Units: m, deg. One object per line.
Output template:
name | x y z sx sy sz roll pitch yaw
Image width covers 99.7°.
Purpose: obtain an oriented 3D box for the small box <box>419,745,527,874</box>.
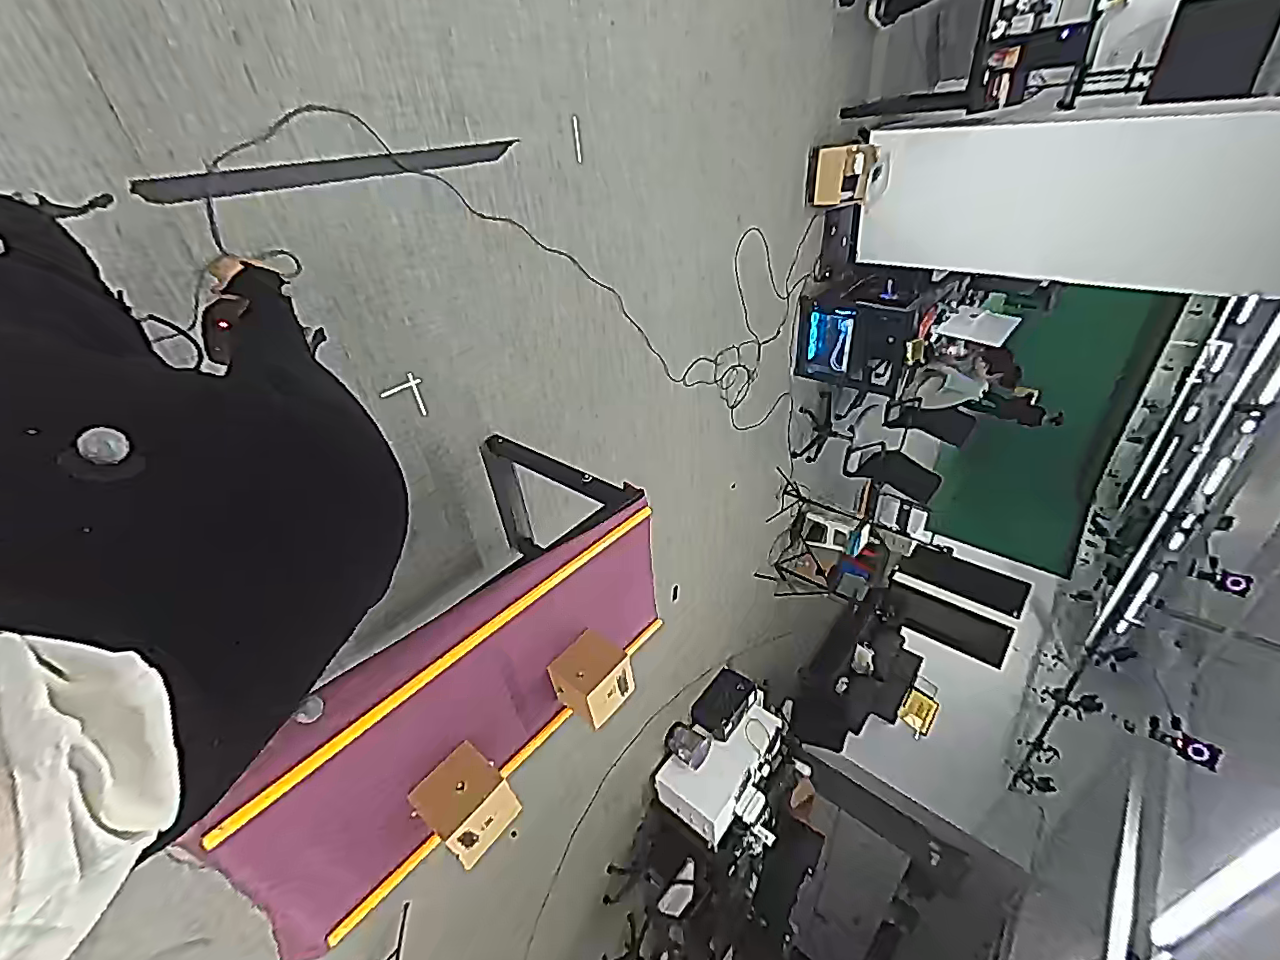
small box | -0.415 0.803 1.330 0.179 0.176 0.168 -40 135 -35
